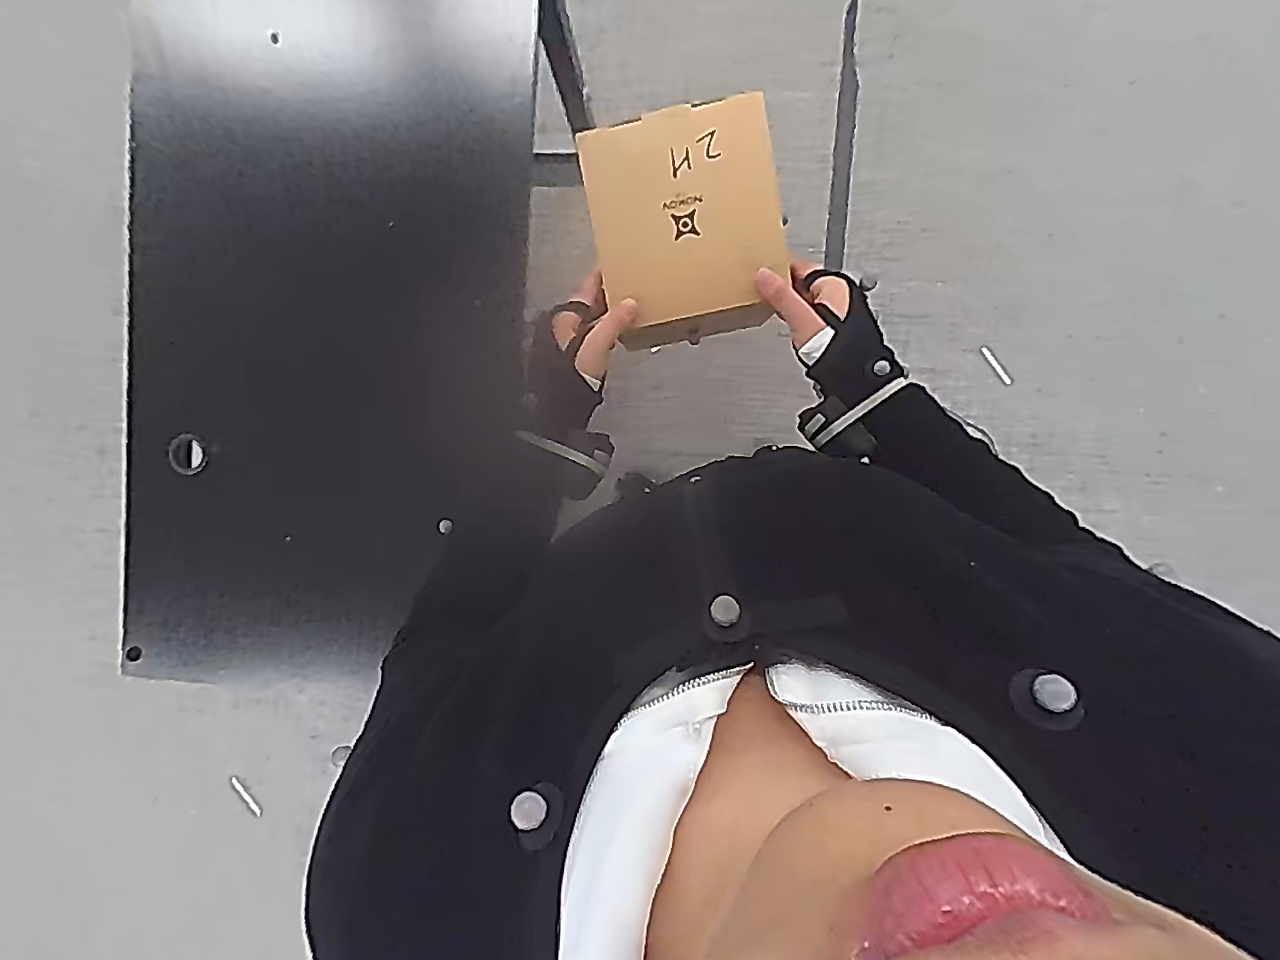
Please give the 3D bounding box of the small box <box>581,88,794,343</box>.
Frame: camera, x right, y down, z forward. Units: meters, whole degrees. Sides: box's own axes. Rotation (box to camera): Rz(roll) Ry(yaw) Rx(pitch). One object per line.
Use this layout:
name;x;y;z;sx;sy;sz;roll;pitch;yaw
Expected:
small box;0.049;-0.244;0.553;0.168;0.176;0.179;-10;96;5
